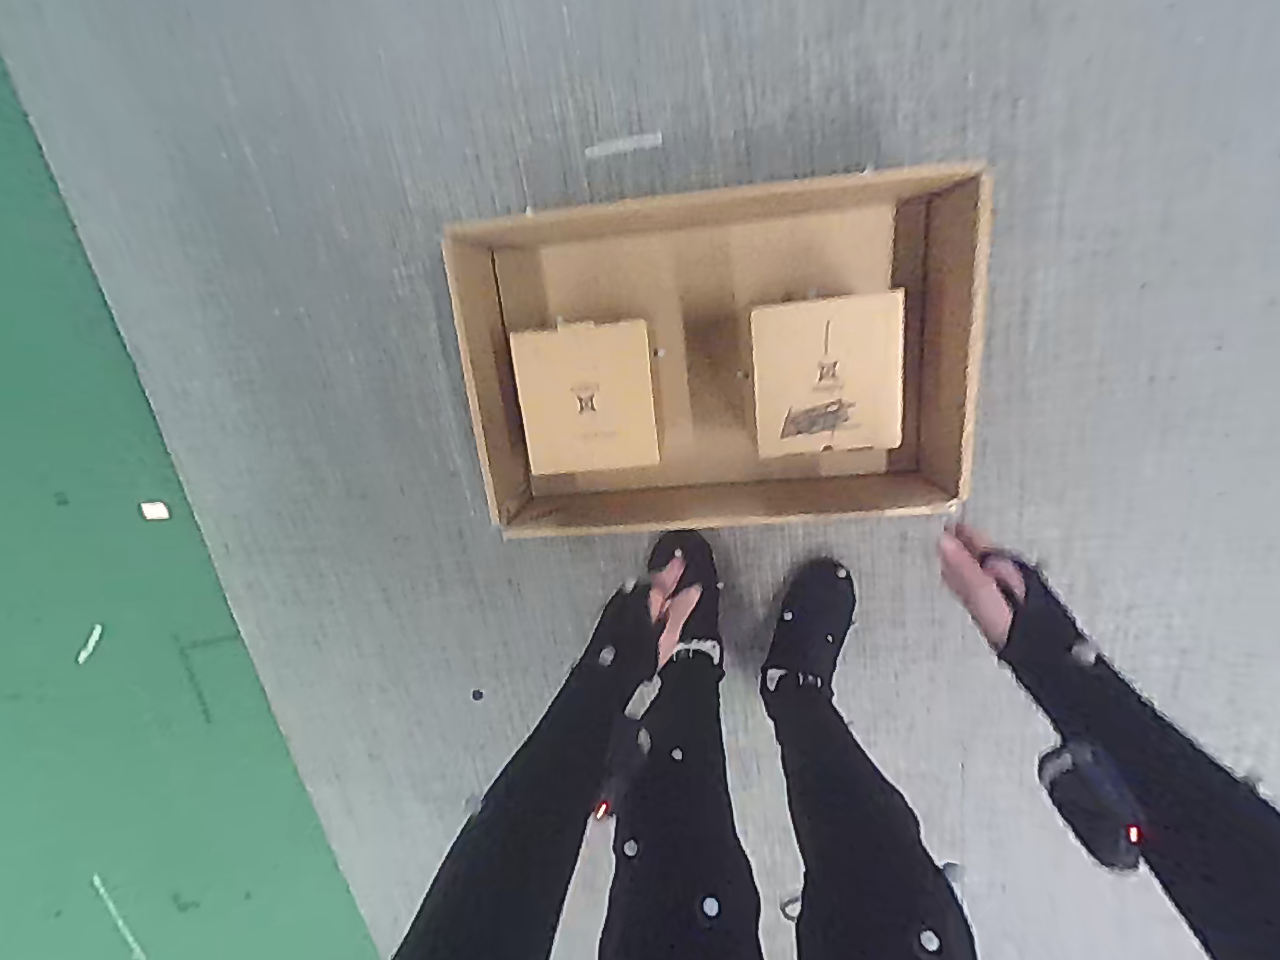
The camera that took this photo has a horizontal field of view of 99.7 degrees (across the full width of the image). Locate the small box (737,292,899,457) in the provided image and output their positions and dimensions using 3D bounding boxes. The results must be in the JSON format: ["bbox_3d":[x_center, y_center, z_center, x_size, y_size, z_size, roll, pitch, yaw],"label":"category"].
[{"bbox_3d":[0.217,-0.137,0.694,0.168,0.176,0.179,-5,104,7],"label":"small box"}]
